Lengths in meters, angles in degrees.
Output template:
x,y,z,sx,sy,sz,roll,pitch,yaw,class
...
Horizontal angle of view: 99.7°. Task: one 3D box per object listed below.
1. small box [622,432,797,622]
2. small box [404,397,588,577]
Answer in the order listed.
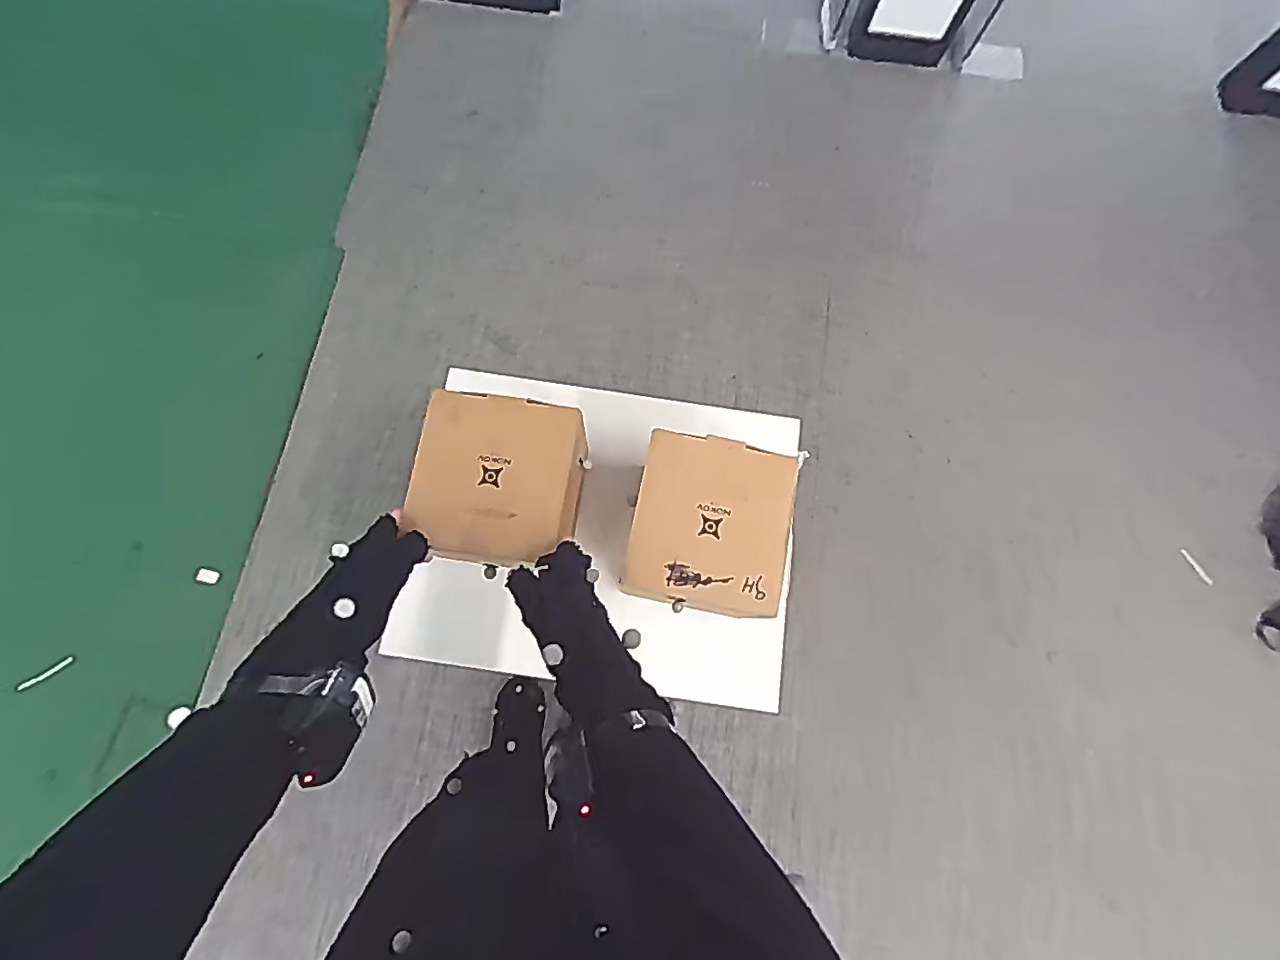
x,y,z,sx,sy,sz,roll,pitch,yaw,class
0.074,0.066,0.651,0.168,0.176,0.179,12,75,2,small box
-0.158,0.018,0.660,0.168,0.176,0.179,6,77,1,small box
